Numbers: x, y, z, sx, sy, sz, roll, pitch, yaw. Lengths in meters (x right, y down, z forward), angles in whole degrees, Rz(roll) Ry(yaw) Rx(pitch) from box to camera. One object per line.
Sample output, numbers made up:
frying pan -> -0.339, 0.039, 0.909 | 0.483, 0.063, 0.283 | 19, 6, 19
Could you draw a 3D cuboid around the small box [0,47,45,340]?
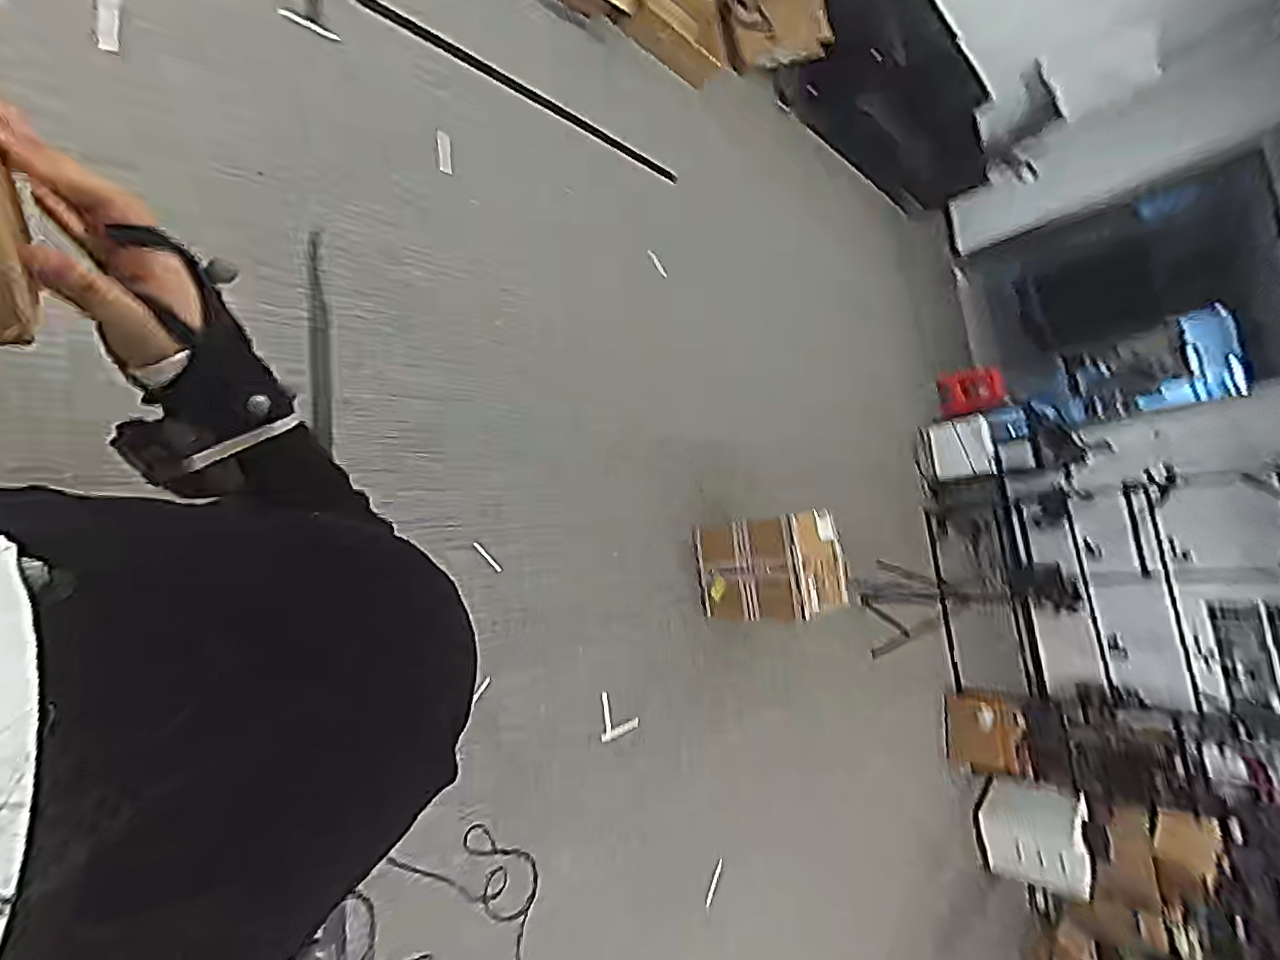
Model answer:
small box -> -0.352, -0.160, 0.192 | 0.168, 0.176, 0.179 | -11, 124, -42
